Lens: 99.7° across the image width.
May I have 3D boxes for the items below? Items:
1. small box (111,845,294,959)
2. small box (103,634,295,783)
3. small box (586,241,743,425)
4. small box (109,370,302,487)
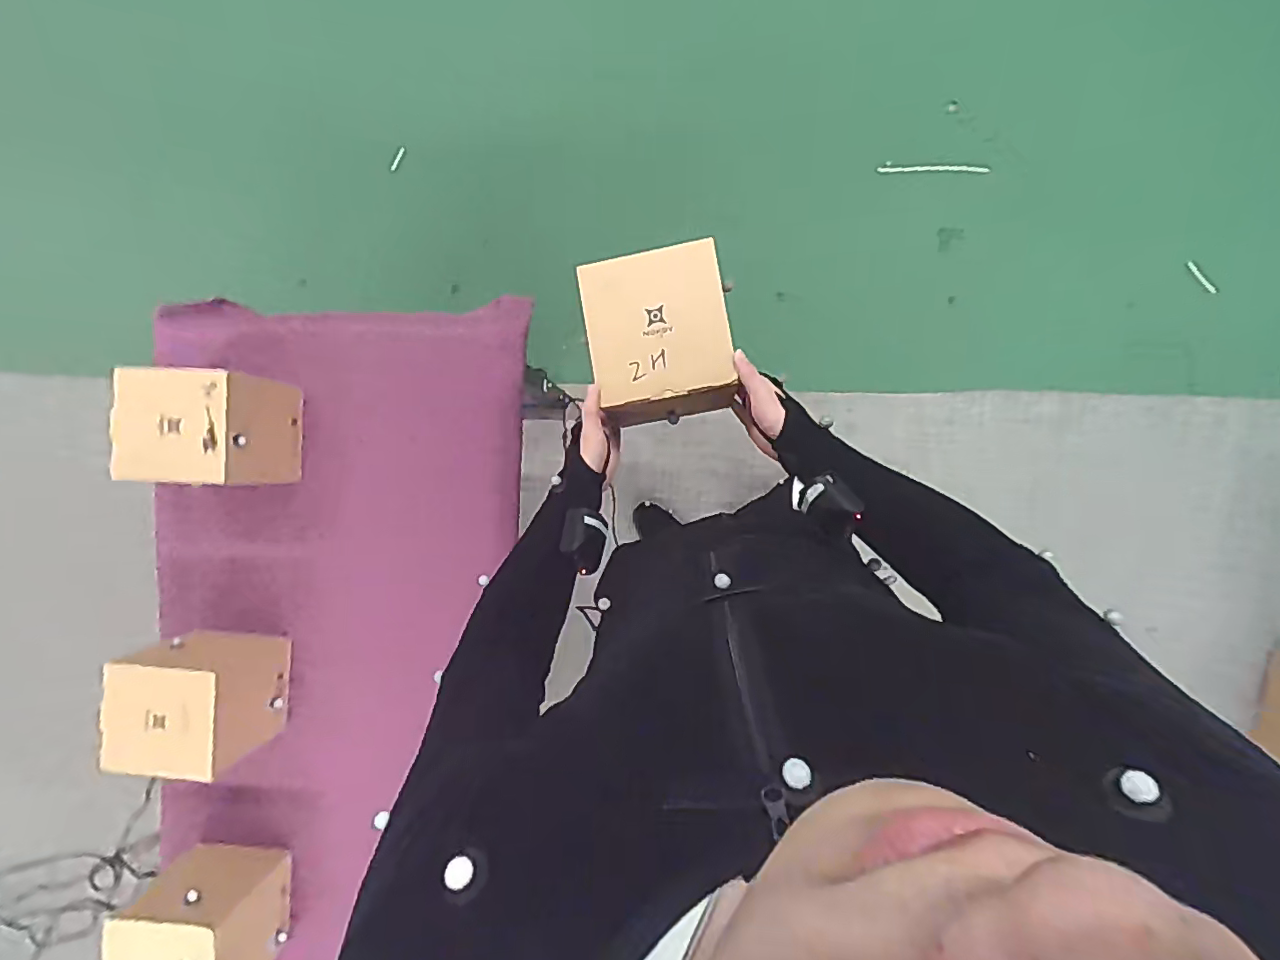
[{"bbox_3d":[-0.702,0.736,0.887,0.179,0.176,0.168,2,91,1],"label":"small box"},{"bbox_3d":[-0.704,0.358,0.878,0.179,0.176,0.168,4,93,1],"label":"small box"},{"bbox_3d":[0.033,-0.178,0.708,0.168,0.176,0.179,-9,88,5],"label":"small box"},{"bbox_3d":[-0.680,-0.078,0.861,0.179,0.176,0.168,2,93,2],"label":"small box"}]
